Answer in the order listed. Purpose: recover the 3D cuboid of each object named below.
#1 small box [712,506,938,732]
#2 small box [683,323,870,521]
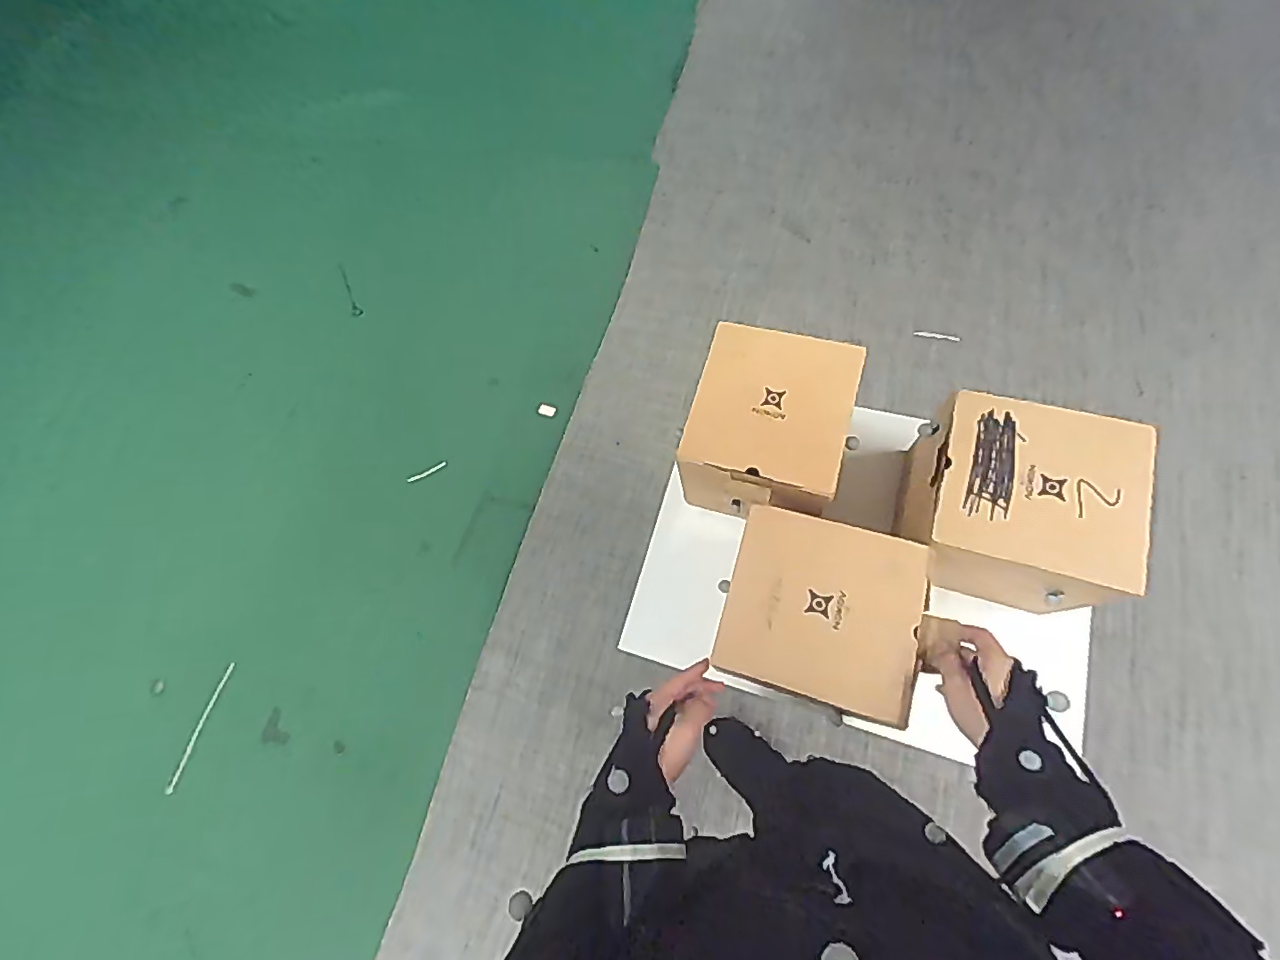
[{"bbox_3d":[0.183,0.147,0.571,0.179,0.176,0.168,13,71,15],"label":"small box"},{"bbox_3d":[0.156,-0.055,0.648,0.168,0.176,0.179,14,74,14],"label":"small box"}]
